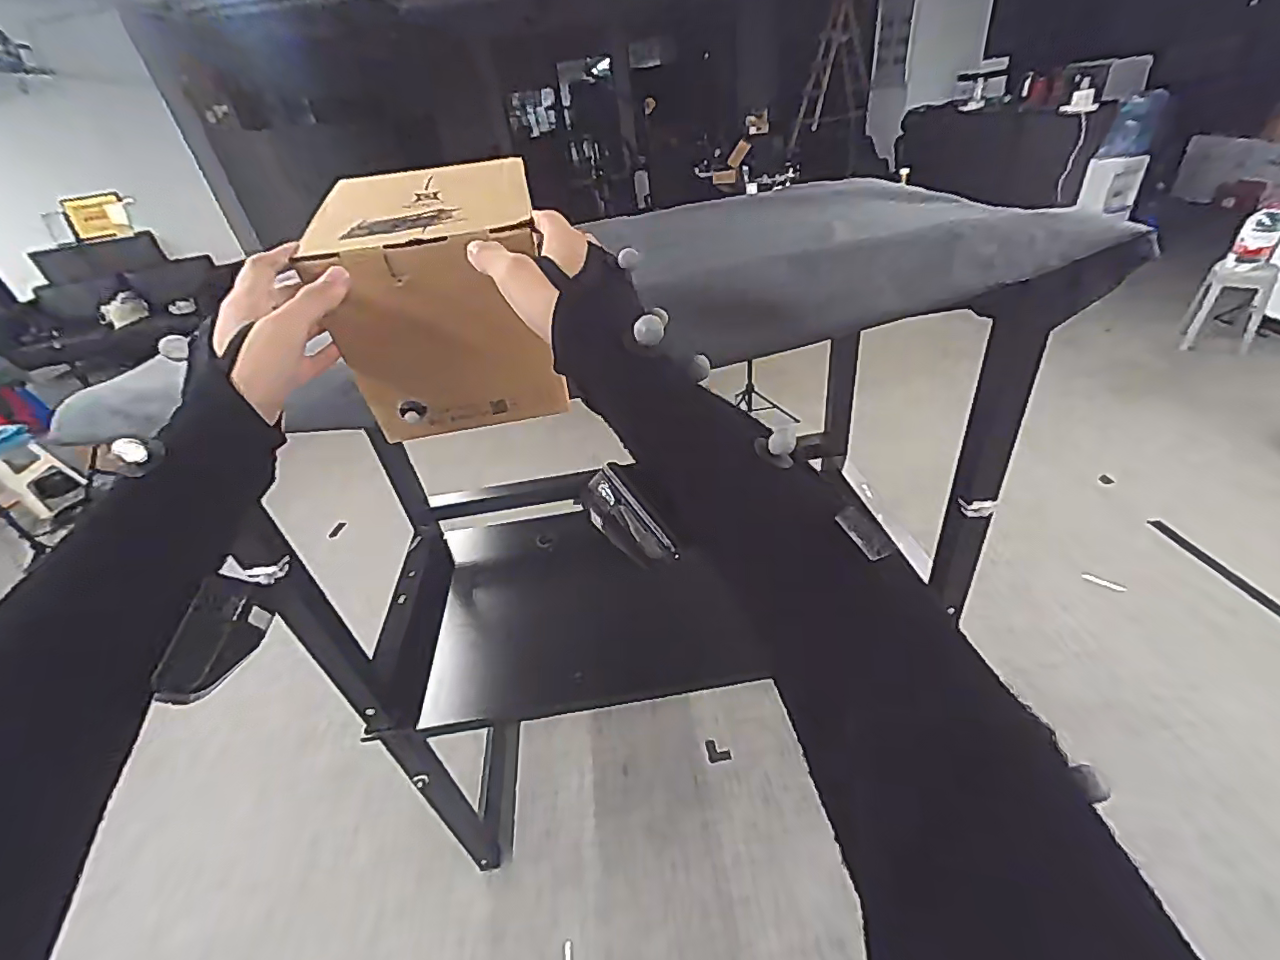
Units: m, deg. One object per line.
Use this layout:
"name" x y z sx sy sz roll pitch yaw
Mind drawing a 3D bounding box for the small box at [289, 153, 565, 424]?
"small box" -0.166 -0.165 0.482 0.168 0.176 0.179 -10 45 -5
